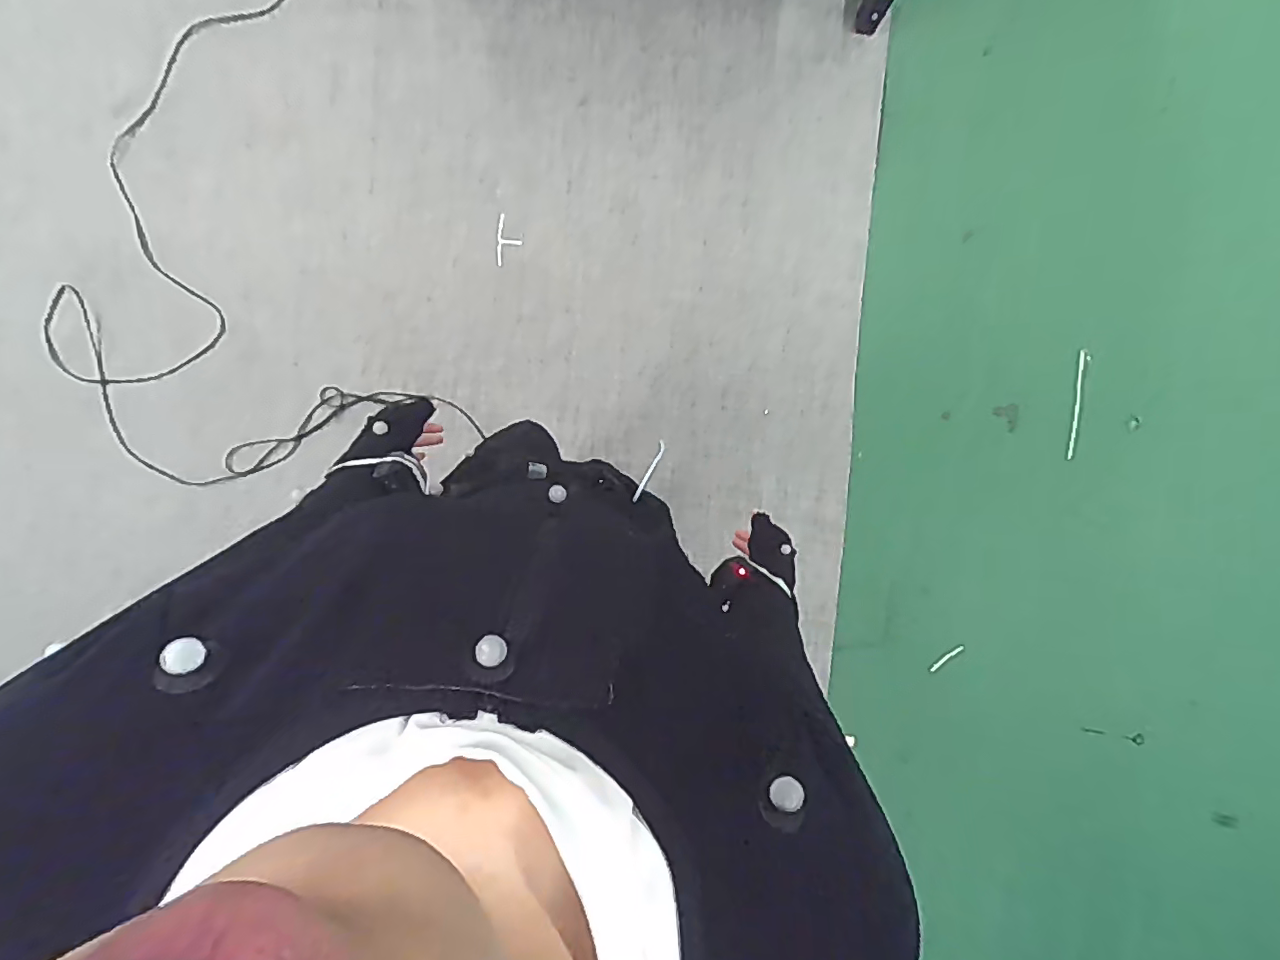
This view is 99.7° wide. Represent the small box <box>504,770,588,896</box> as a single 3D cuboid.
[{"bbox_3d":[-0.206,0.793,1.225,0.168,0.176,0.179,3,95,-3],"label":"small box"}]

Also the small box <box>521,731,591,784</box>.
[{"bbox_3d":[-0.215,0.777,1.387,0.168,0.176,0.179,4,95,-4],"label":"small box"}]
